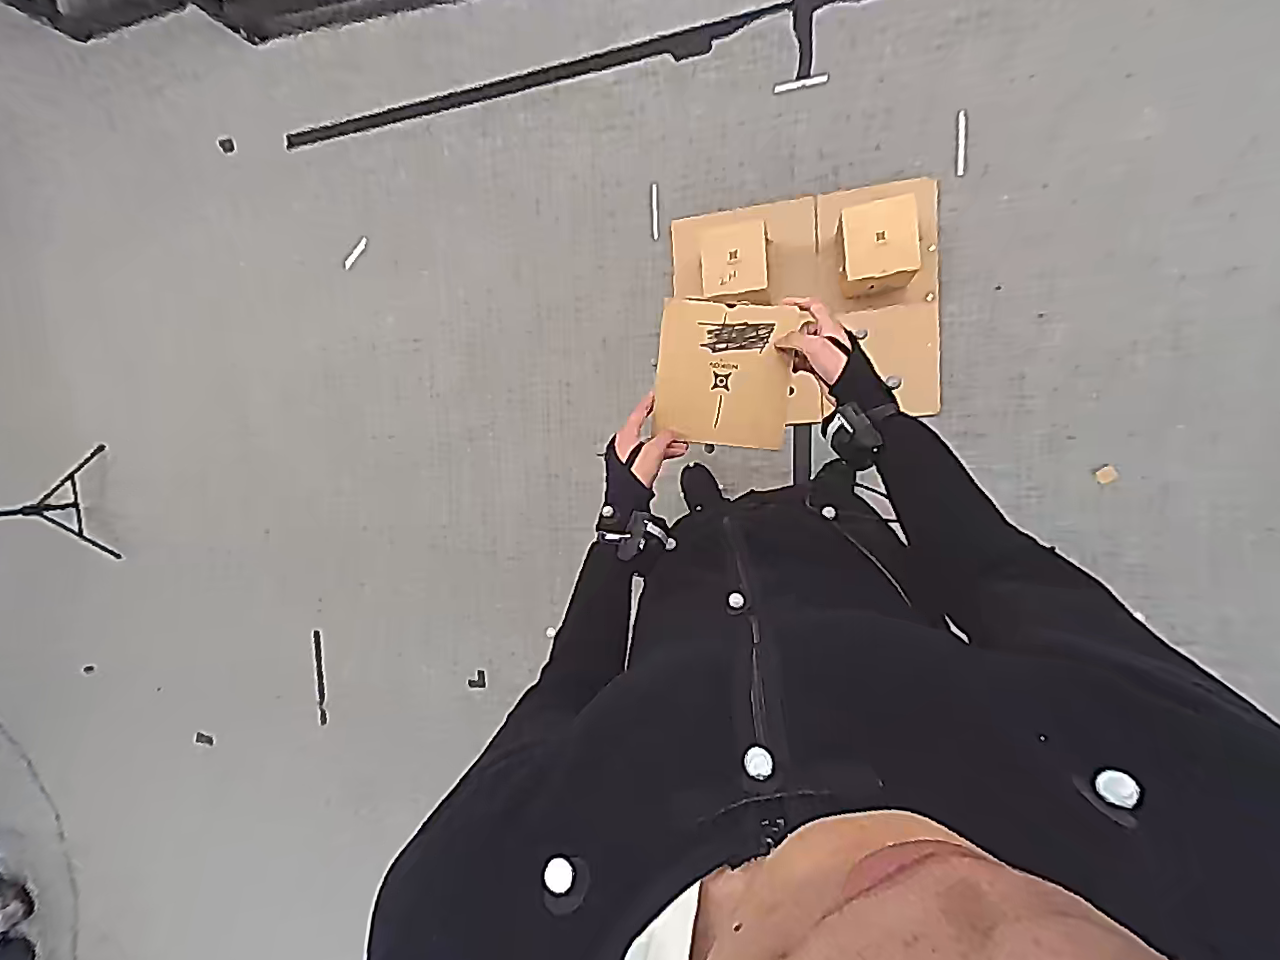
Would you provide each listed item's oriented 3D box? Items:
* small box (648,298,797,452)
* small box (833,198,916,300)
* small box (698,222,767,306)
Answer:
[{"bbox_3d":[0.108,-0.135,0.740,0.168,0.176,0.179,6,96,7],"label":"small box"},{"bbox_3d":[0.584,-0.574,1.364,0.168,0.176,0.179,-6,94,17],"label":"small box"},{"bbox_3d":[0.252,-0.563,1.454,0.168,0.176,0.179,-3,95,17],"label":"small box"}]
